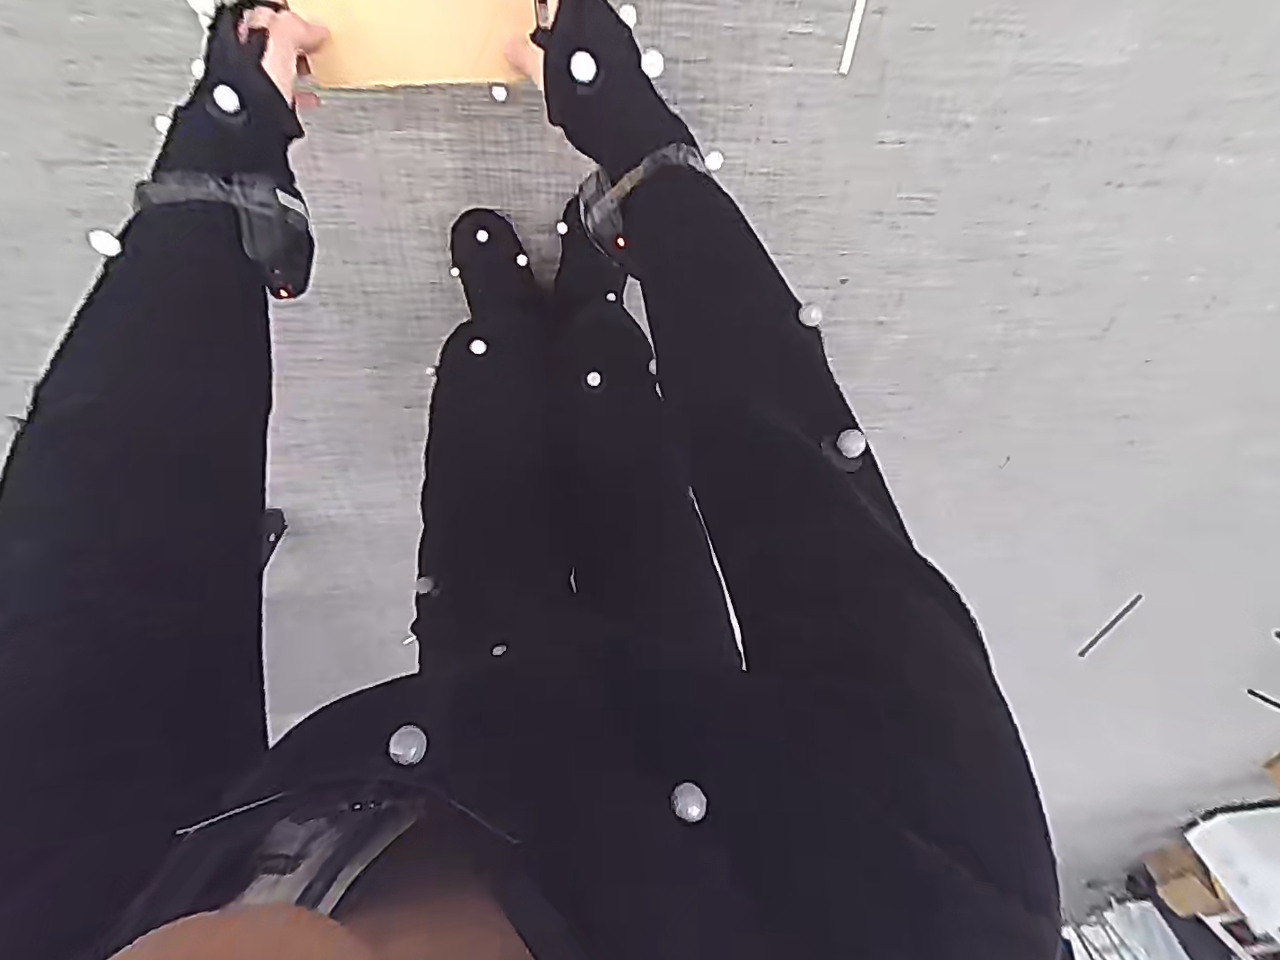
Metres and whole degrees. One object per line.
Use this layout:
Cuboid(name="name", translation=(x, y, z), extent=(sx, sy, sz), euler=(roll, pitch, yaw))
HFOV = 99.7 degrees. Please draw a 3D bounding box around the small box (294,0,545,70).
Cuboid(name="small box", translation=(-0.171, -0.429, 0.420), extent=(0.179, 0.176, 0.168), euler=(-7, 133, -7))
